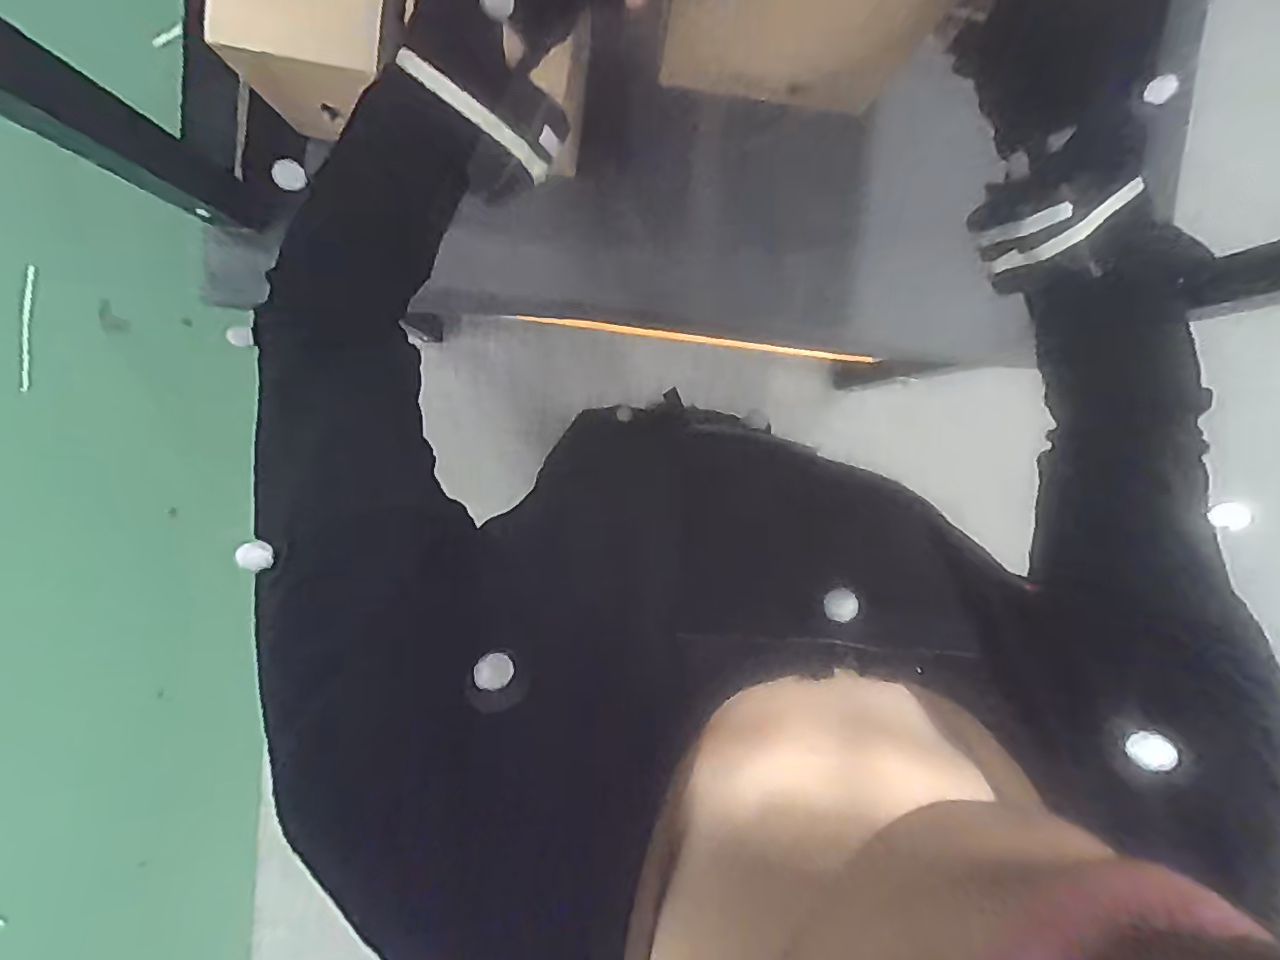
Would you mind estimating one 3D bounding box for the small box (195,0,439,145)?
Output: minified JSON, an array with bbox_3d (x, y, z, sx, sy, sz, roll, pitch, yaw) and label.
[{"bbox_3d":[-0.331,-0.505,0.588,0.168,0.176,0.179,9,94,-5],"label":"small box"}]
